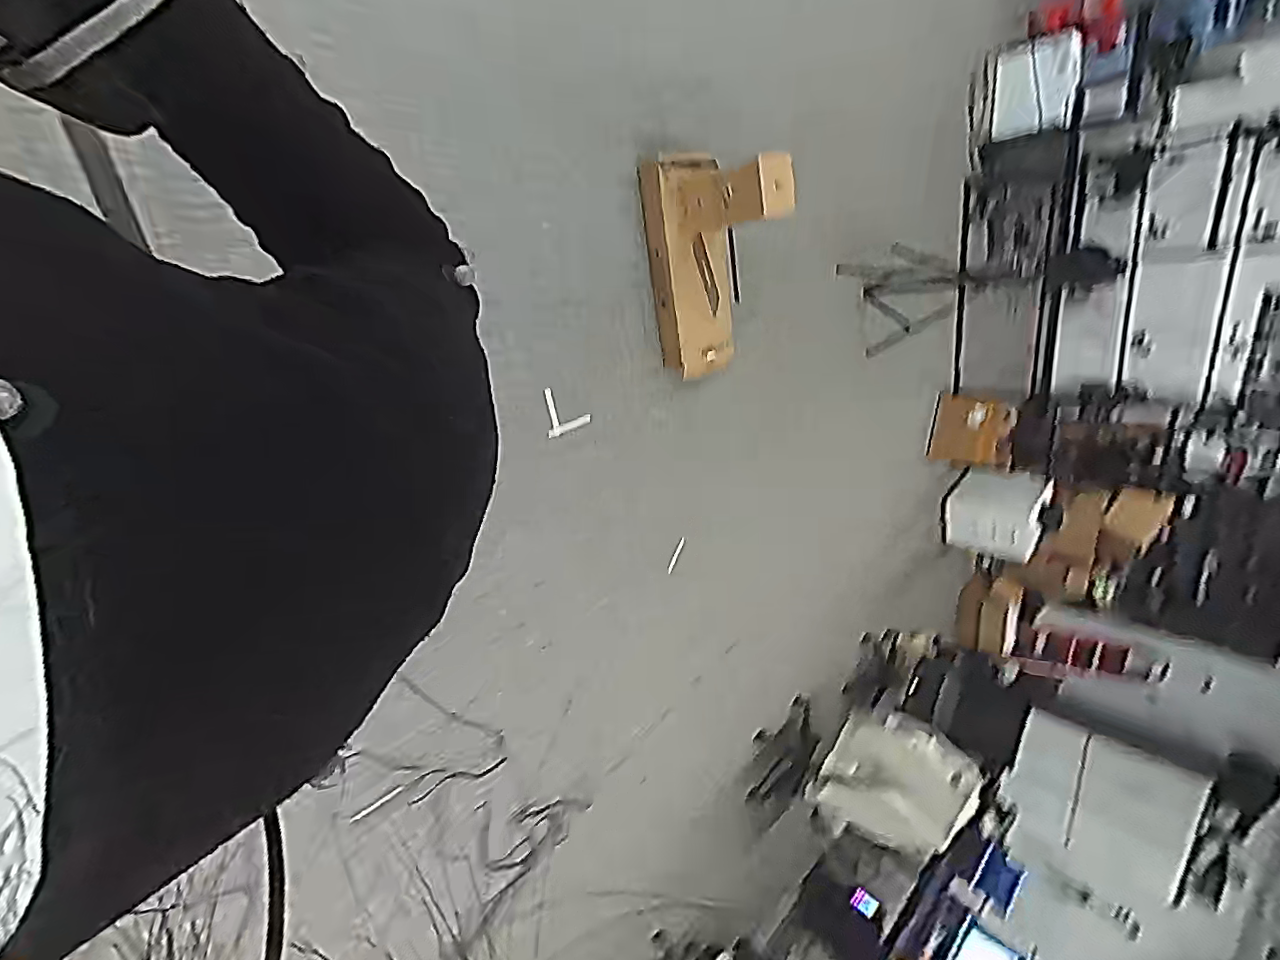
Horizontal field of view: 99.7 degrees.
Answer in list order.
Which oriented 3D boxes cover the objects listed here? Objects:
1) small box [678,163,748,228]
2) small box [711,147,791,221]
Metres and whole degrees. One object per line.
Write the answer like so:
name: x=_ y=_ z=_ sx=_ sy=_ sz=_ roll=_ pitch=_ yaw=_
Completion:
small box: x=0.242 y=-0.958 z=1.826 sx=0.179 sy=0.176 sz=0.168 roll=-24 pitch=117 yaw=-36
small box: x=0.351 y=-0.932 z=1.707 sx=0.179 sy=0.176 sz=0.168 roll=-32 pitch=120 yaw=-33
